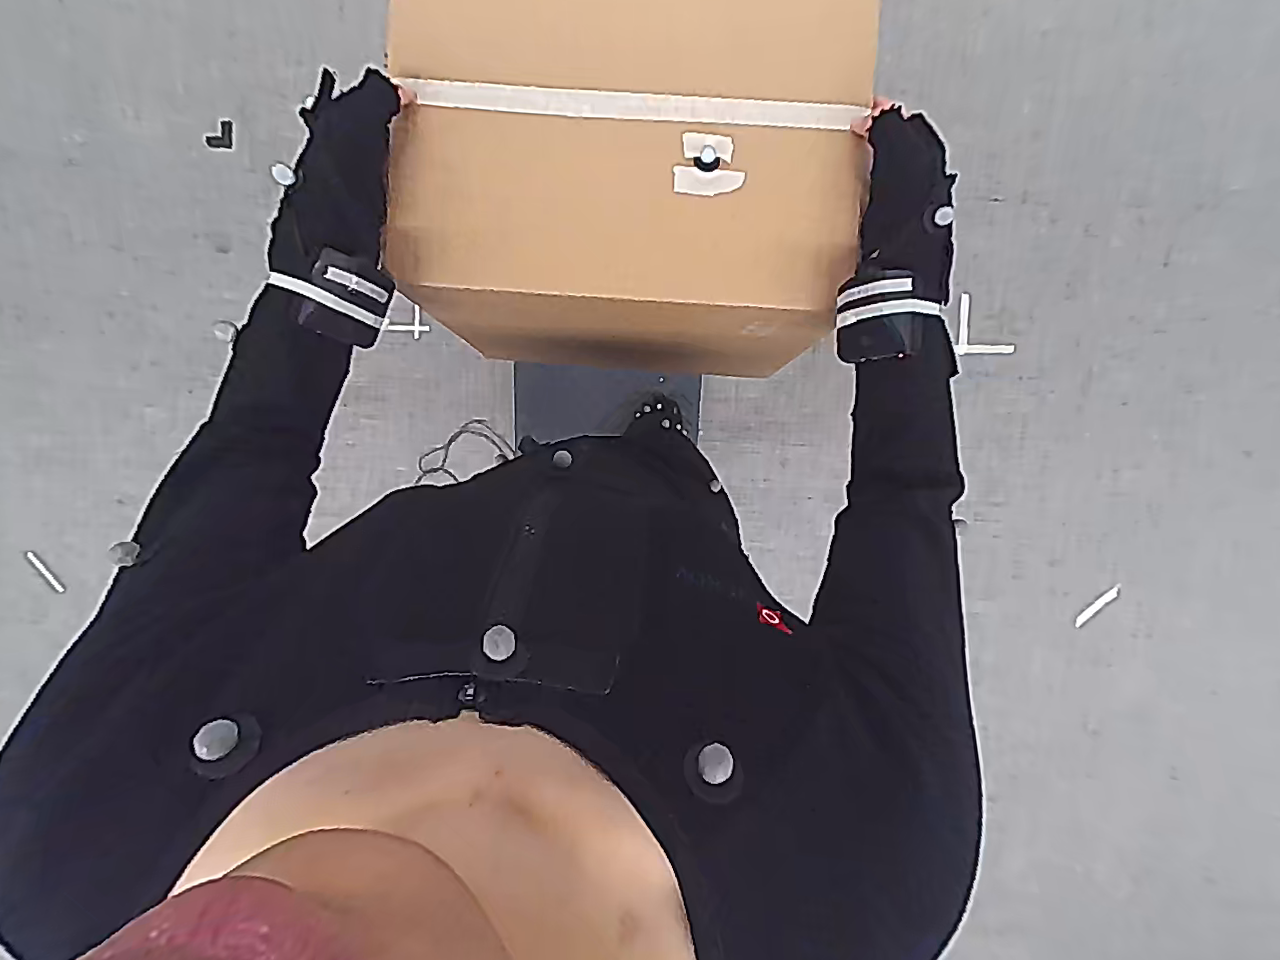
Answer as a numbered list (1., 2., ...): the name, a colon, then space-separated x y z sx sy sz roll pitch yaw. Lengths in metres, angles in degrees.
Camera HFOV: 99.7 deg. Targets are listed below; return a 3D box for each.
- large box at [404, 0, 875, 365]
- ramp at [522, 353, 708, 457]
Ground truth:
1. large box: -0.002 -0.322 0.615 0.408 0.320 0.320 4 91 0
2. ramp: -0.055 -0.550 1.351 0.509 0.206 0.991 1 95 -1
